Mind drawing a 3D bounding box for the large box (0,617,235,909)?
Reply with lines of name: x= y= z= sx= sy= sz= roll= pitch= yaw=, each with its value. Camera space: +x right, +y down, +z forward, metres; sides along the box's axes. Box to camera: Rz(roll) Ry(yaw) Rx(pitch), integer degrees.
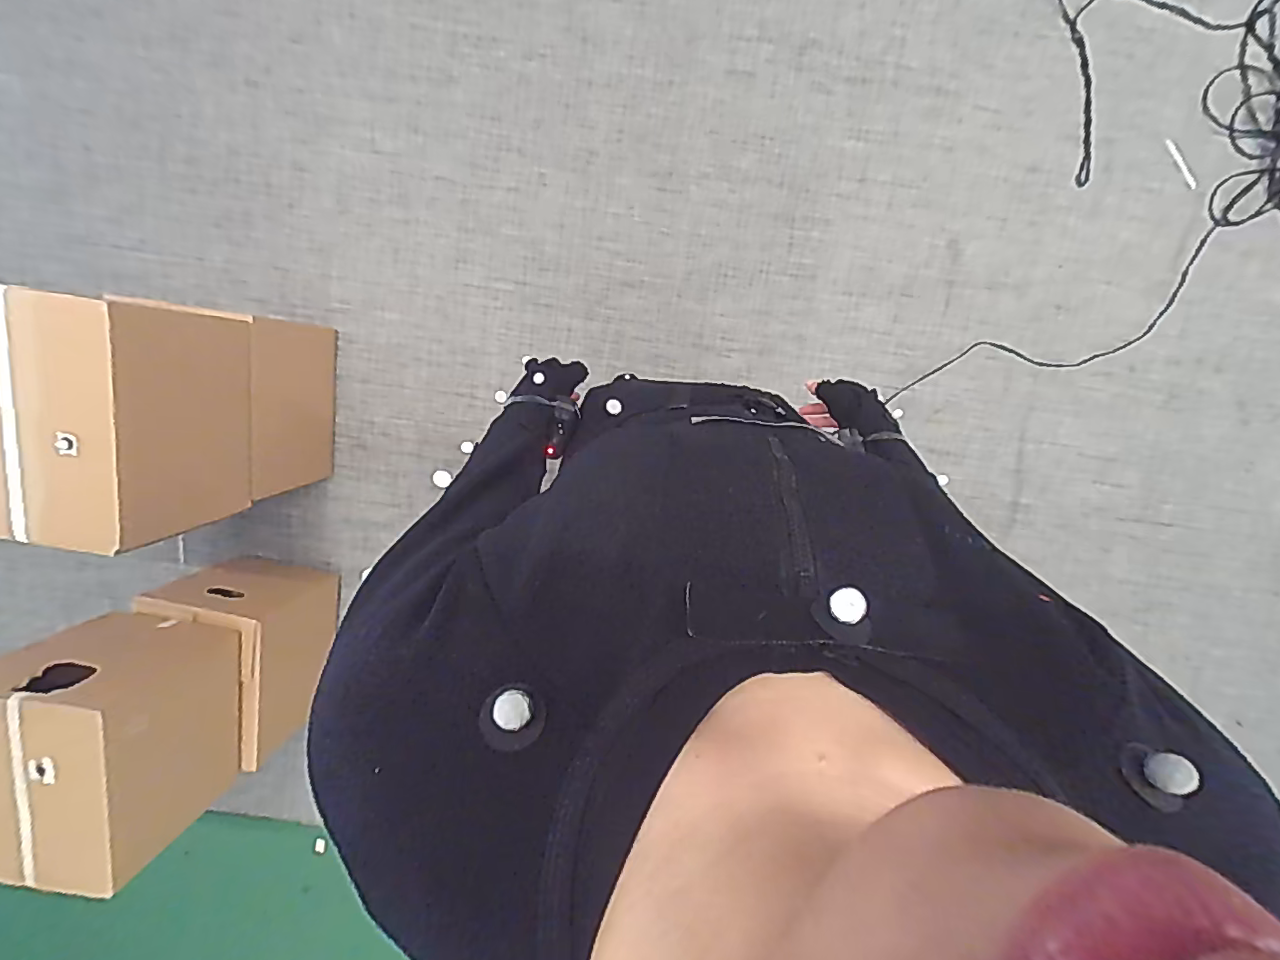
large box: x=-1.101 y=0.550 z=1.115 sx=0.320 sy=0.320 sz=0.408 roll=9 pitch=99 yaw=3
